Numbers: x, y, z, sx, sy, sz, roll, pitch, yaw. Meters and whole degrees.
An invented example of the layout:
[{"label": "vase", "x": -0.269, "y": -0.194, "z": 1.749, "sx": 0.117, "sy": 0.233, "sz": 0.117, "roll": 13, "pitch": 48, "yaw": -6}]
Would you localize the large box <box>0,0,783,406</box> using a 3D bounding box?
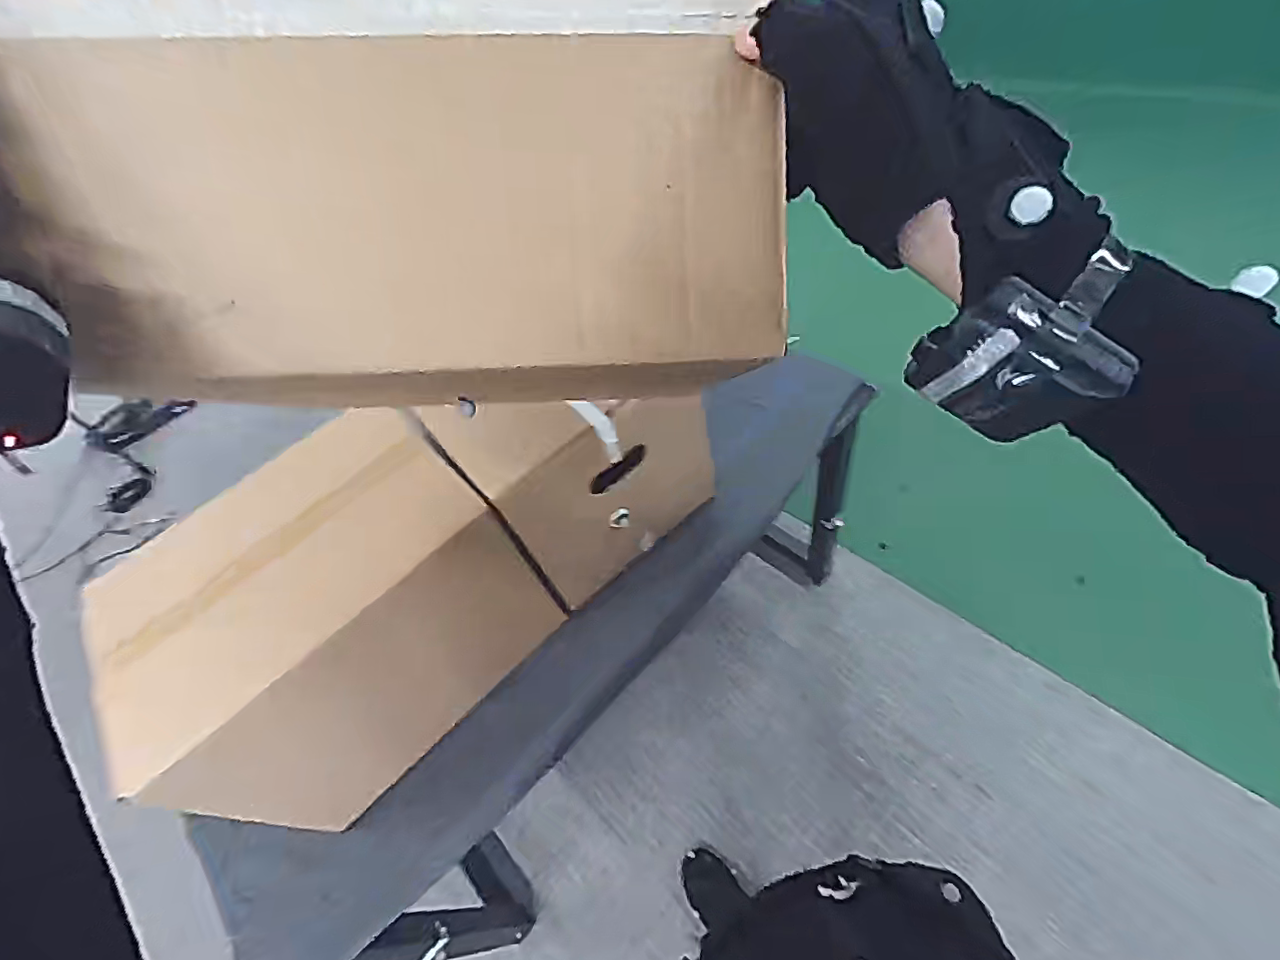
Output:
[{"label": "large box", "x": -0.132, "y": -0.220, "z": 0.409, "sx": 0.408, "sy": 0.320, "sz": 0.320, "roll": -2, "pitch": 95, "yaw": -2}]
